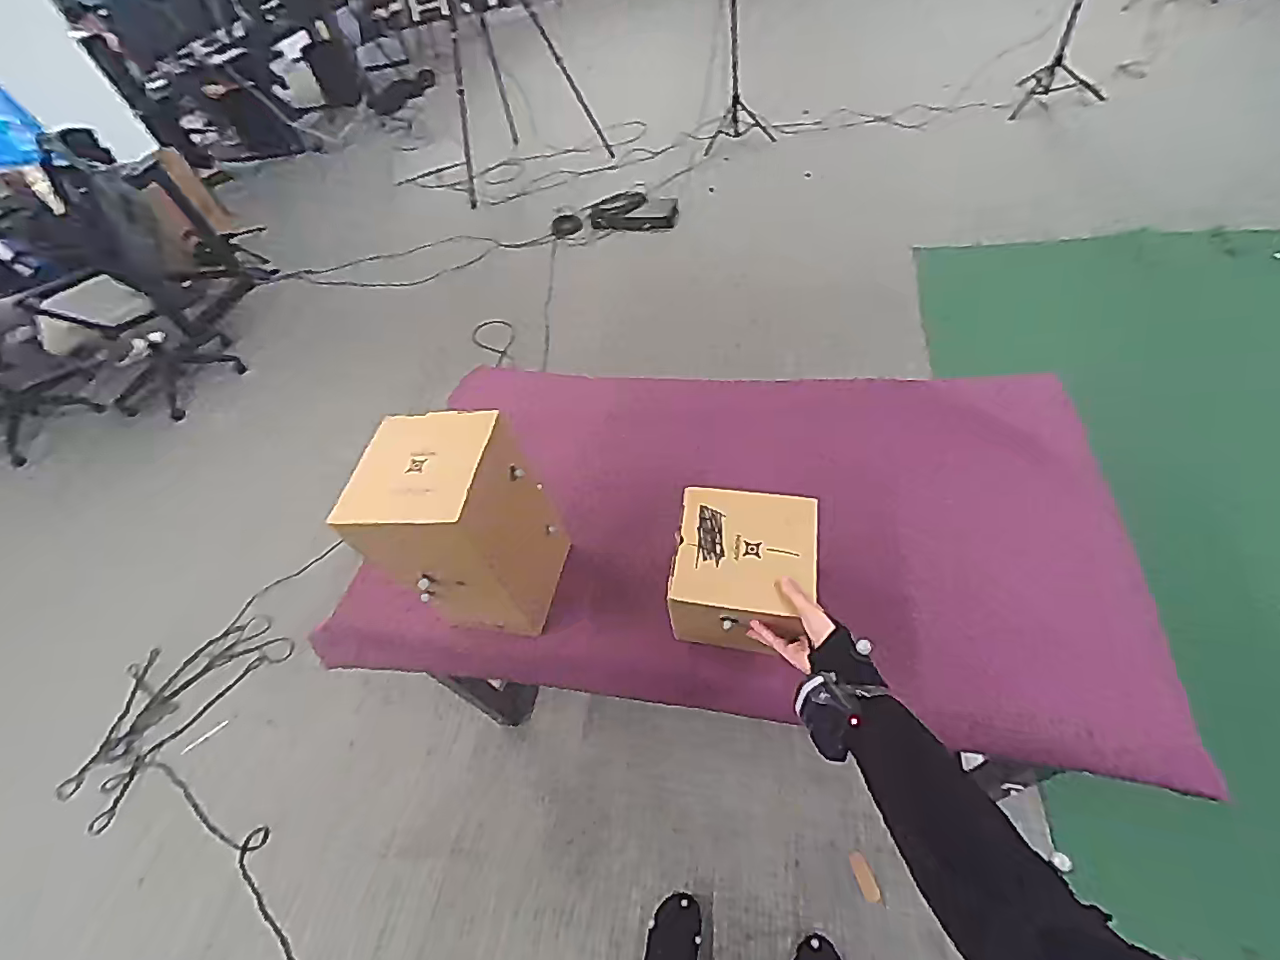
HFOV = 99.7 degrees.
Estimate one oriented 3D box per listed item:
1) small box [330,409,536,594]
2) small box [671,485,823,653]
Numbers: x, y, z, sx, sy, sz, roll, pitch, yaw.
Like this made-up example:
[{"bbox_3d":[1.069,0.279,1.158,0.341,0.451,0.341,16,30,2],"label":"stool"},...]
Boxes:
[{"bbox_3d":[-0.248,0.028,0.703,0.168,0.176,0.179,-1,51,12],"label":"small box"},{"bbox_3d":[0.145,0.126,0.741,0.179,0.176,0.168,7,60,10],"label":"small box"}]
